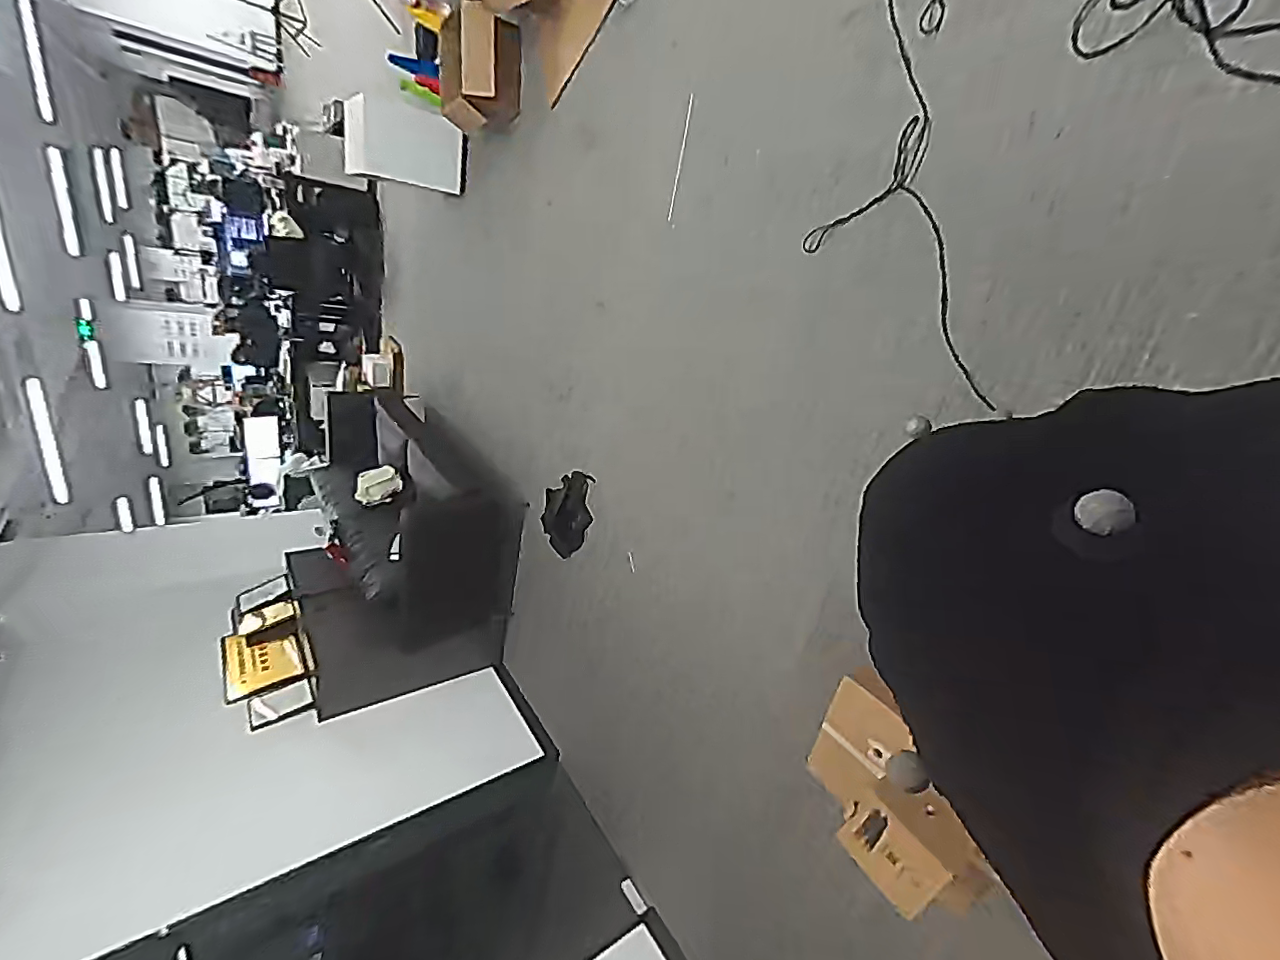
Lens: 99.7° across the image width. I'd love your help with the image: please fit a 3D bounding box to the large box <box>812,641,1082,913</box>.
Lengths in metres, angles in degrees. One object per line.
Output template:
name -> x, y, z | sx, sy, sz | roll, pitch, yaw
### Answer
large box -> 0.695, 0.654, 1.266 | 0.408, 0.320, 0.320 | 37, 122, 45
